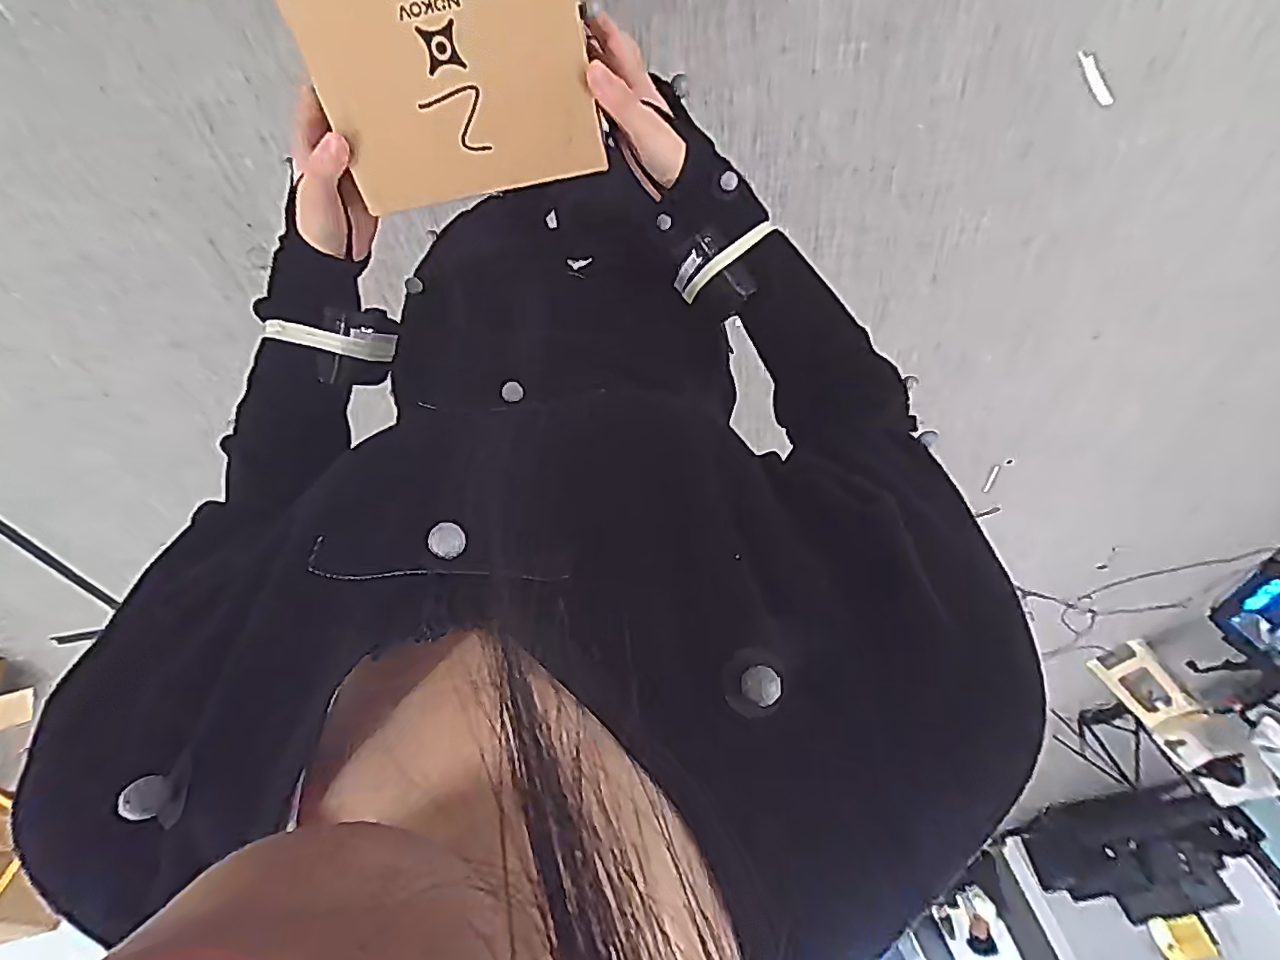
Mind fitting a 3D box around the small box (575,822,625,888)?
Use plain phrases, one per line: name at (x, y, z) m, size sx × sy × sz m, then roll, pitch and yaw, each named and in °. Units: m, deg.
small box at (-0.160, 1.474, 2.125) m, size 0.179 × 0.176 × 0.168 m, roll -10°, pitch 135°, yaw -3°
